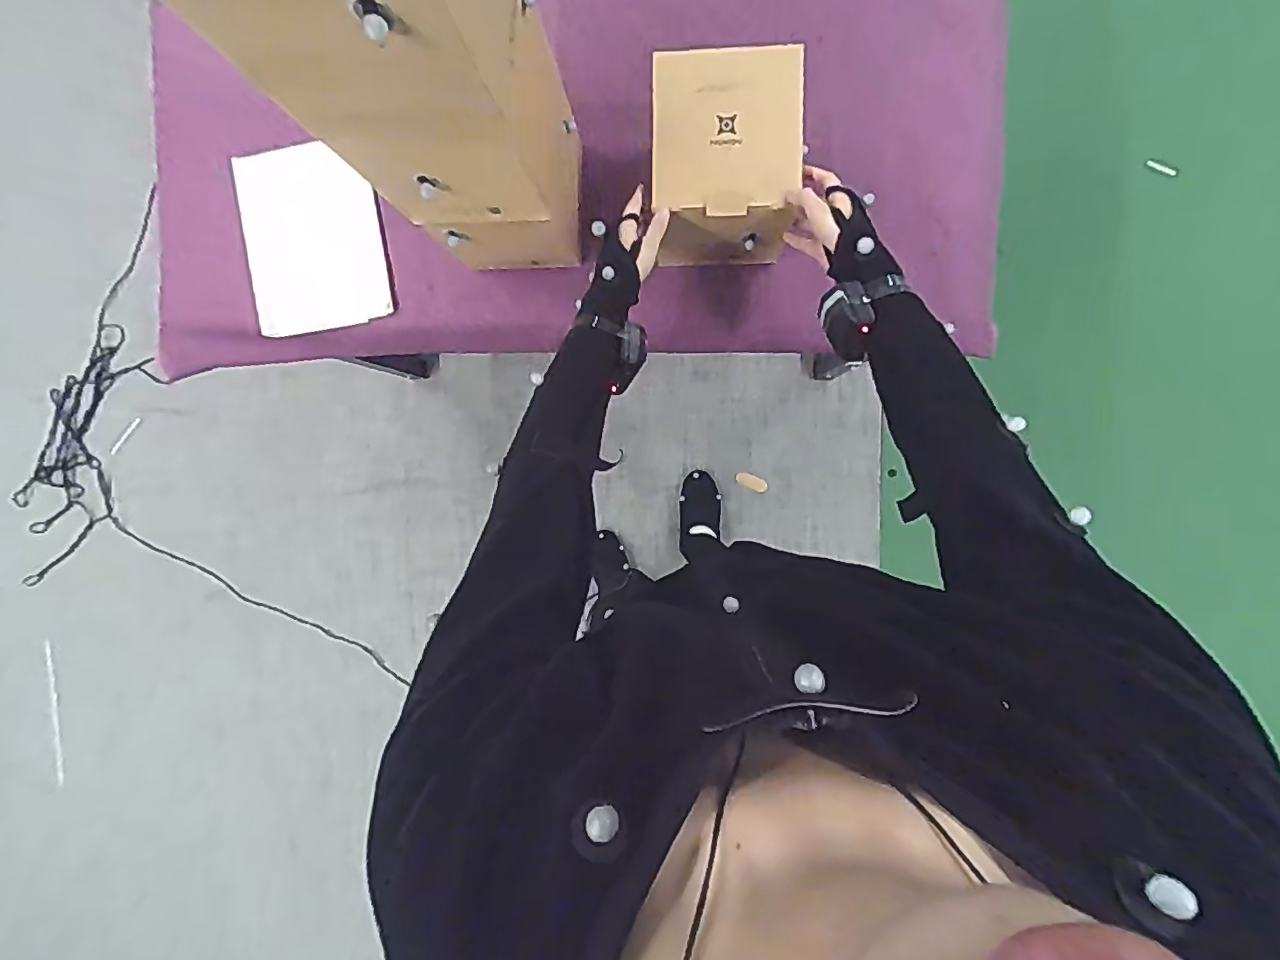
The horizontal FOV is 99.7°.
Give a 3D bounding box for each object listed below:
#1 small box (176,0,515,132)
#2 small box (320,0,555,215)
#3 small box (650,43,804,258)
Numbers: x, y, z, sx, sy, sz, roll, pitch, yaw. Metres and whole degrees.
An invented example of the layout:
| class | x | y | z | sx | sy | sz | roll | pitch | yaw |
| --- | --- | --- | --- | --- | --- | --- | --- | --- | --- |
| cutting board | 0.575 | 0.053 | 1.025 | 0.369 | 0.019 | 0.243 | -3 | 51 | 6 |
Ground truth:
| class | x | y | z | sx | sy | sz | roll | pitch | yaw |
| --- | --- | --- | --- | --- | --- | --- | --- | --- | --- |
| small box | -0.188 | -0.367 | 0.365 | 0.179 | 0.176 | 0.168 | 3 | 91 | 5 |
| small box | -0.183 | -0.378 | 0.530 | 0.168 | 0.176 | 0.179 | 1 | 91 | 5 |
| small box | 0.101 | -0.389 | 0.671 | 0.168 | 0.176 | 0.179 | 1 | 91 | 4 |
